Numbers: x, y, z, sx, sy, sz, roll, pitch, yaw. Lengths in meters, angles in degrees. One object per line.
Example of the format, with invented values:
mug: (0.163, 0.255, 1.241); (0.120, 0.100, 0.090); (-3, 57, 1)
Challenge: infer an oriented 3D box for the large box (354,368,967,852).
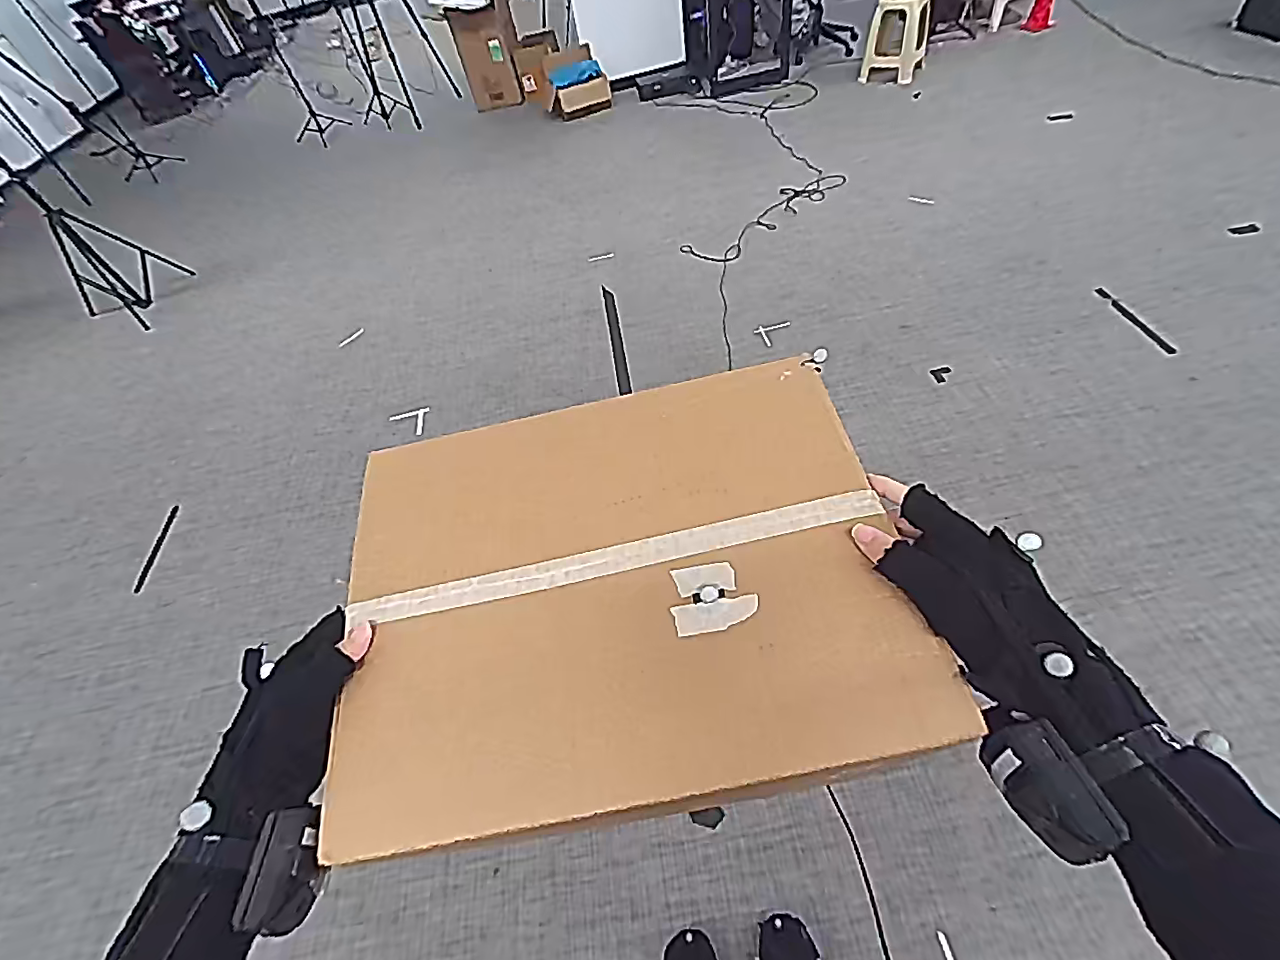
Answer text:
large box: (0.005, 0.143, 0.541); (0.408, 0.320, 0.320); (-12, 58, 1)
